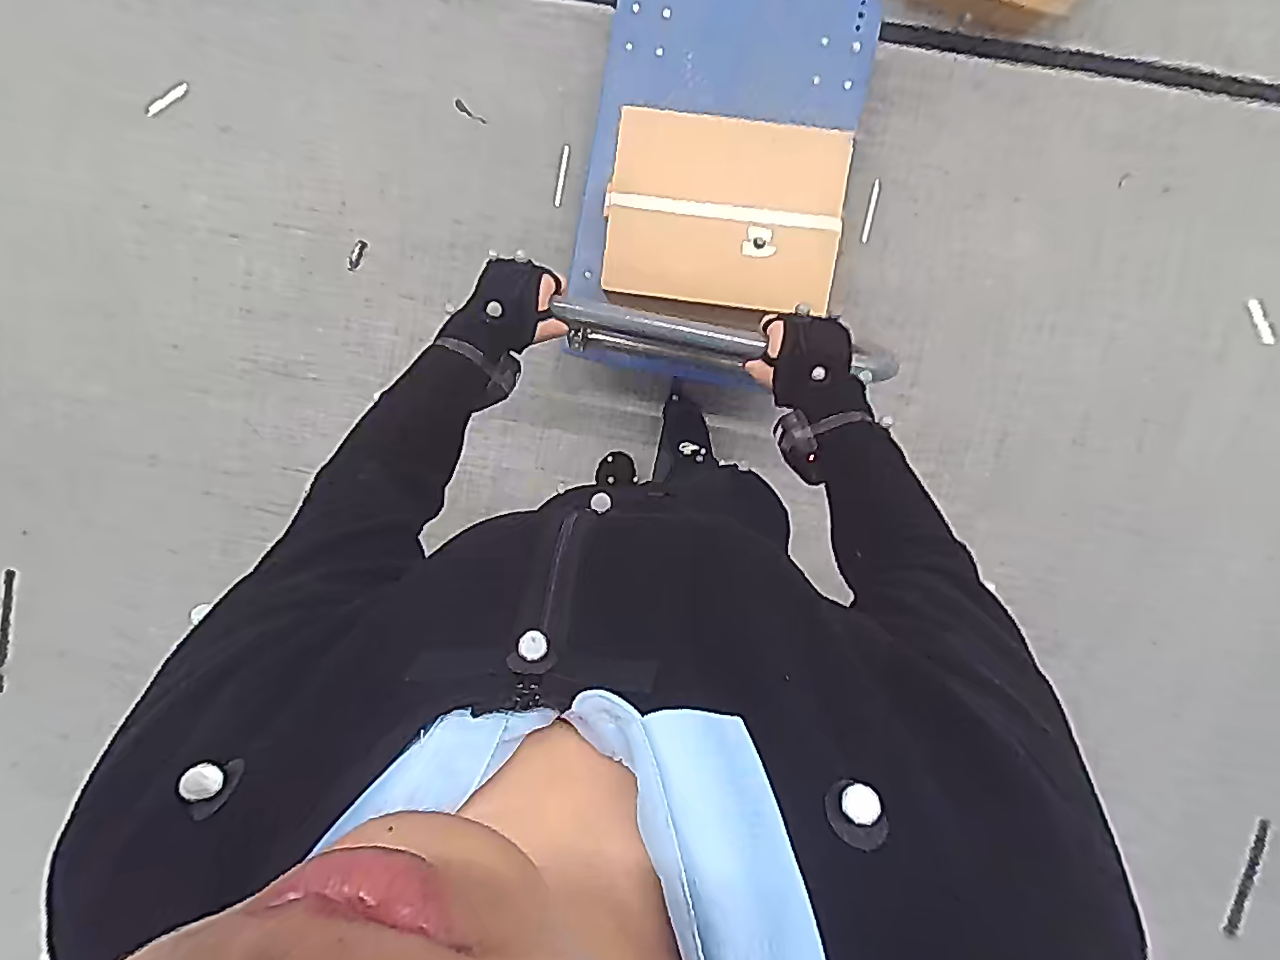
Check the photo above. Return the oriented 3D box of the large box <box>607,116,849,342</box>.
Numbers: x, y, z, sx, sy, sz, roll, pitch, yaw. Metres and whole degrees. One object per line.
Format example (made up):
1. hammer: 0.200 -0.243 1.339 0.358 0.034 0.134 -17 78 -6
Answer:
1. large box: 0.154 -0.480 1.107 0.408 0.320 0.320 8 96 1
